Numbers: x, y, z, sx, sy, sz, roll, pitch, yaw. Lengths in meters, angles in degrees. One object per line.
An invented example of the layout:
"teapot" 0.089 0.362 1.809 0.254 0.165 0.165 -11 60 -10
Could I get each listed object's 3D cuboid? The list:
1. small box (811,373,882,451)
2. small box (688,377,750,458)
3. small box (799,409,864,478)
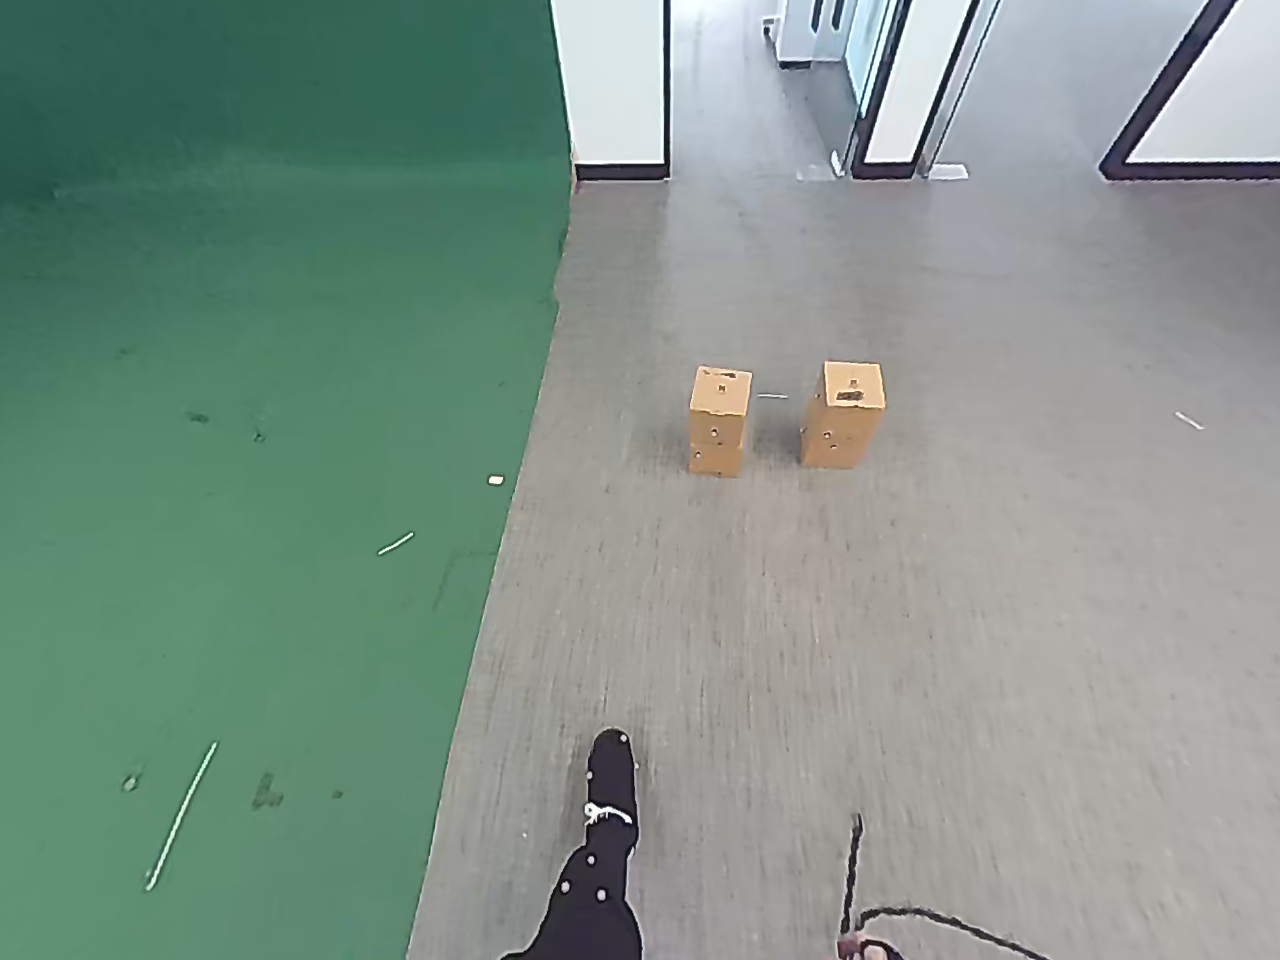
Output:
"small box" 0.629 -0.206 1.668 0.168 0.176 0.179 5 57 6
"small box" 0.242 -0.189 1.679 0.168 0.176 0.179 10 58 8
"small box" 0.634 -0.121 1.808 0.179 0.176 0.168 4 58 5
